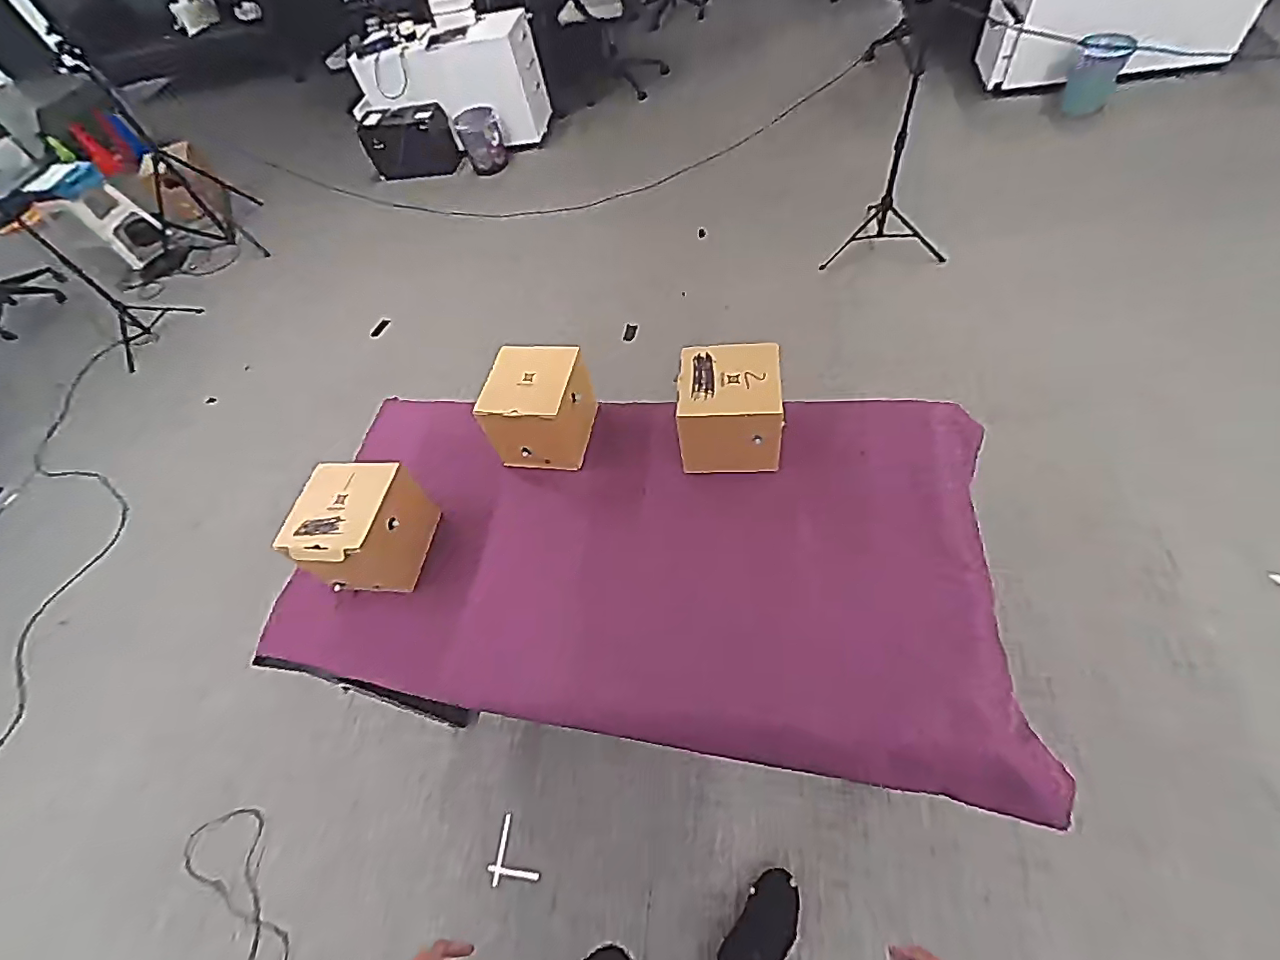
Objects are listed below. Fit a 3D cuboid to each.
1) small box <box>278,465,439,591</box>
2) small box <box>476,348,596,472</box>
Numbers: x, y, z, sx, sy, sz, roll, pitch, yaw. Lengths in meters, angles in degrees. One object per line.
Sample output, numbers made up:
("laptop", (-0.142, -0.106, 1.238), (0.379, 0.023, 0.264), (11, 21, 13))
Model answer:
("small box", (-0.494, 0.090, 0.982), (0.168, 0.176, 0.179), (0, 55, 11))
("small box", (-0.194, -0.139, 1.074), (0.168, 0.176, 0.179), (4, 58, 13))
